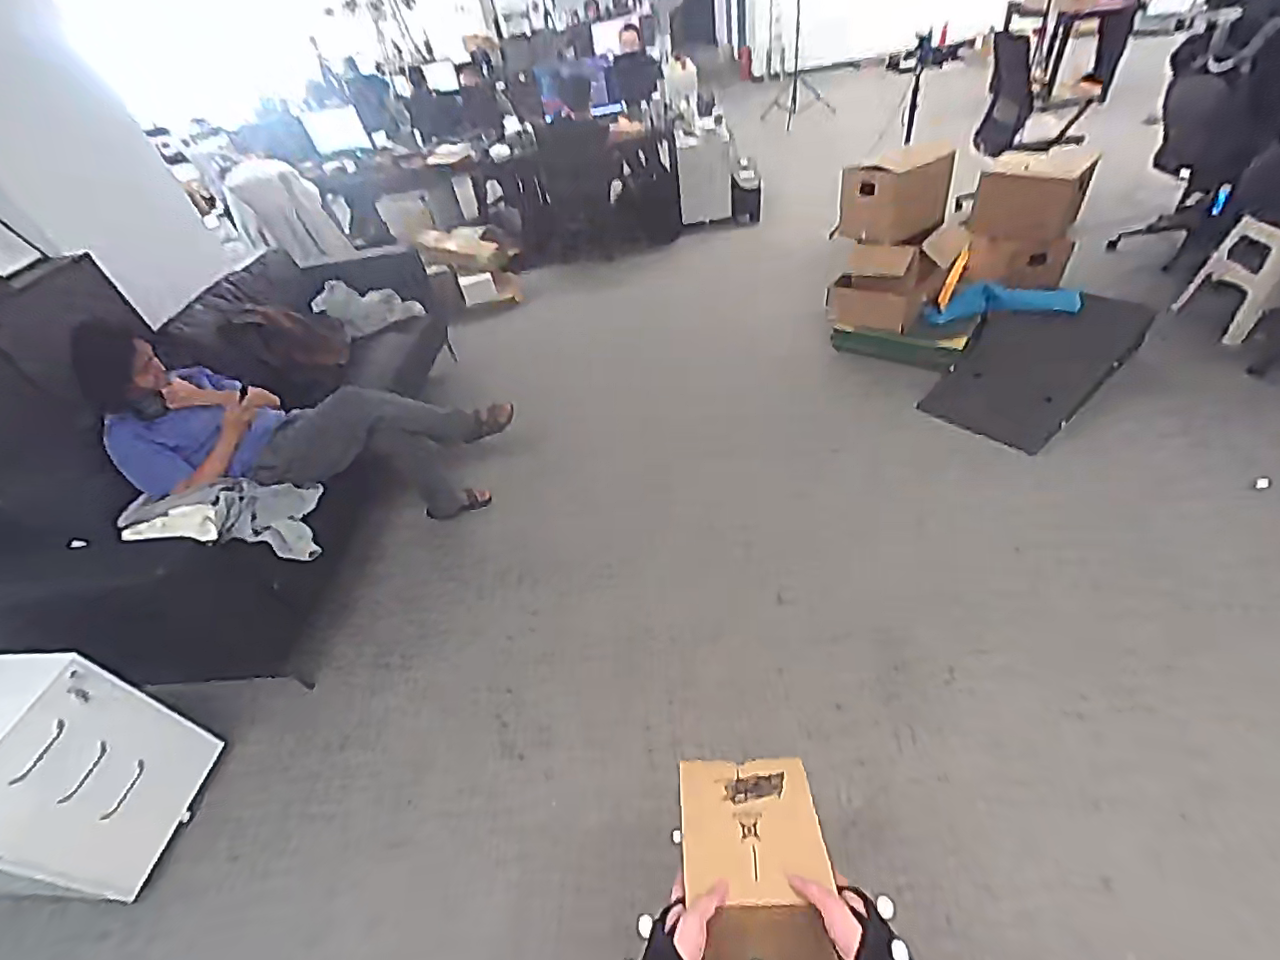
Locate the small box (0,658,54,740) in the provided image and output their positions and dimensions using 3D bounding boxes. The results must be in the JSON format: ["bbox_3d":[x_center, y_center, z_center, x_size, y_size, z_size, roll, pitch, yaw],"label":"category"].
[{"bbox_3d":[-1.666,0.579,1.374,0.179,0.176,0.168,-23,-7,-35],"label":"small box"}]
